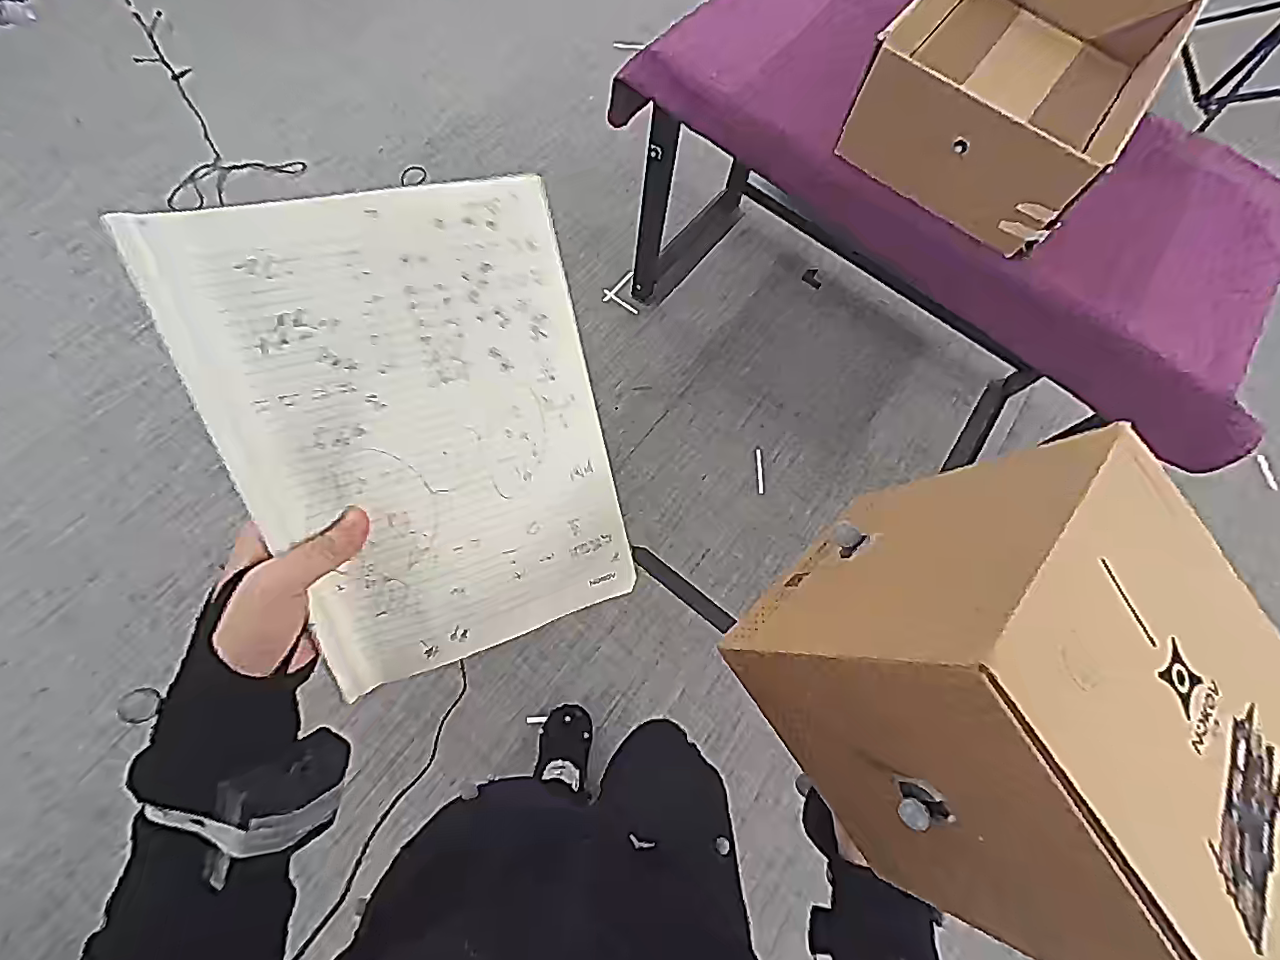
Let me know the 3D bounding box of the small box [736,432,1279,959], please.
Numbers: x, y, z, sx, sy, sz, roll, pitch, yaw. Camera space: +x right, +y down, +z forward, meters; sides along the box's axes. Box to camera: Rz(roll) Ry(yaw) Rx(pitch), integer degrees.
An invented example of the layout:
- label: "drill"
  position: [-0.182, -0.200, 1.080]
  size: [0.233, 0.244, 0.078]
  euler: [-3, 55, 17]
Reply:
- label: "small box"
  position: [0.188, 0.107, 0.285]
  size: [0.168, 0.176, 0.179]
  euler: [-36, 92, -29]
